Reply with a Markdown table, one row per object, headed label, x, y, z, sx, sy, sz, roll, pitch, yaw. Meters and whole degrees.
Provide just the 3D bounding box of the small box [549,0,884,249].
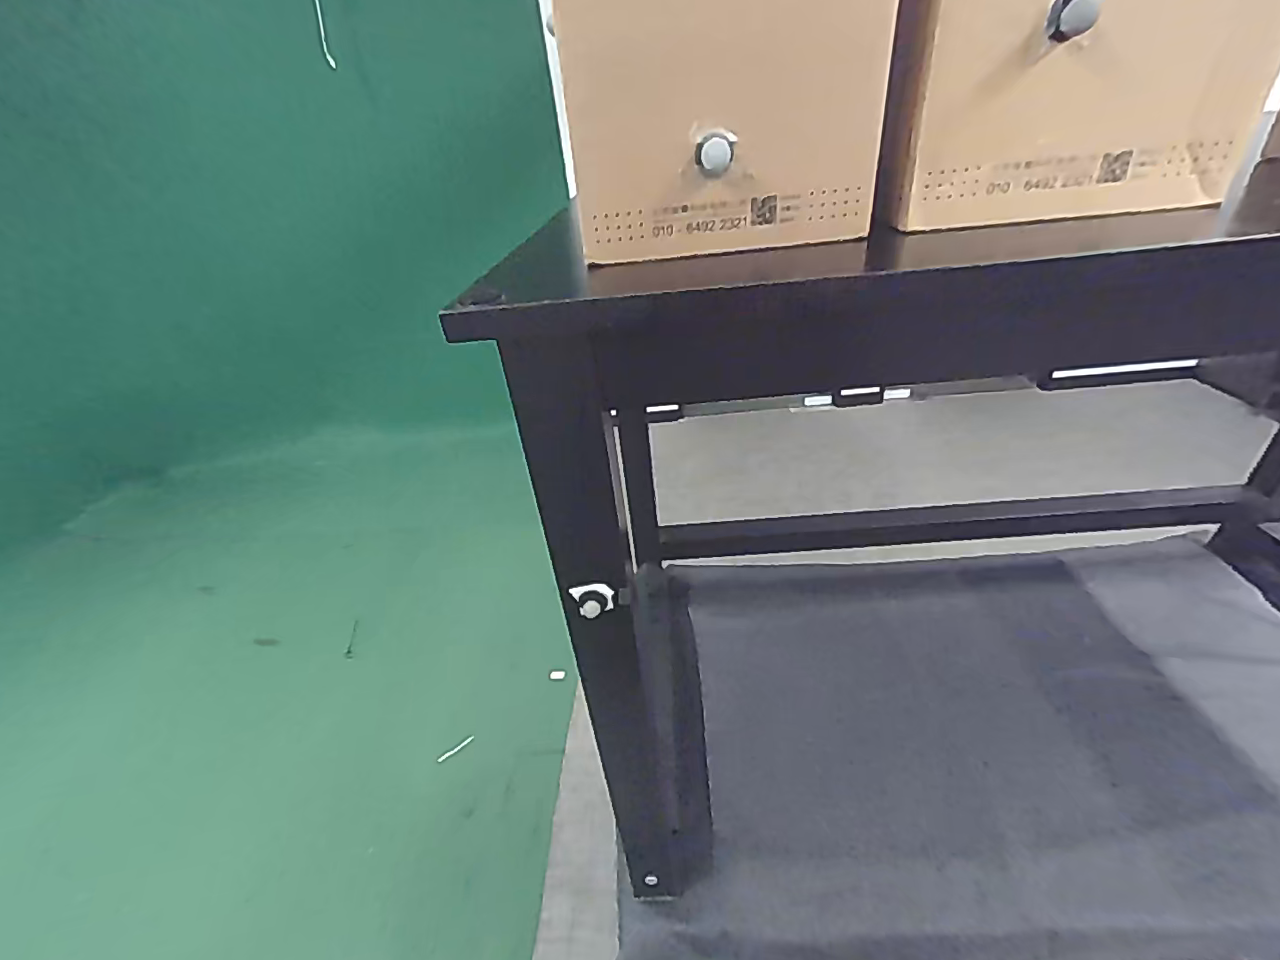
| label | x | y | z | sx | sy | sz | roll | pitch | yaw |
| --- | --- | --- | --- | --- | --- | --- | --- | --- | --- |
| small box | 0.038 | -0.252 | 0.343 | 0.168 | 0.176 | 0.179 | -5 | 33 | 3 |
